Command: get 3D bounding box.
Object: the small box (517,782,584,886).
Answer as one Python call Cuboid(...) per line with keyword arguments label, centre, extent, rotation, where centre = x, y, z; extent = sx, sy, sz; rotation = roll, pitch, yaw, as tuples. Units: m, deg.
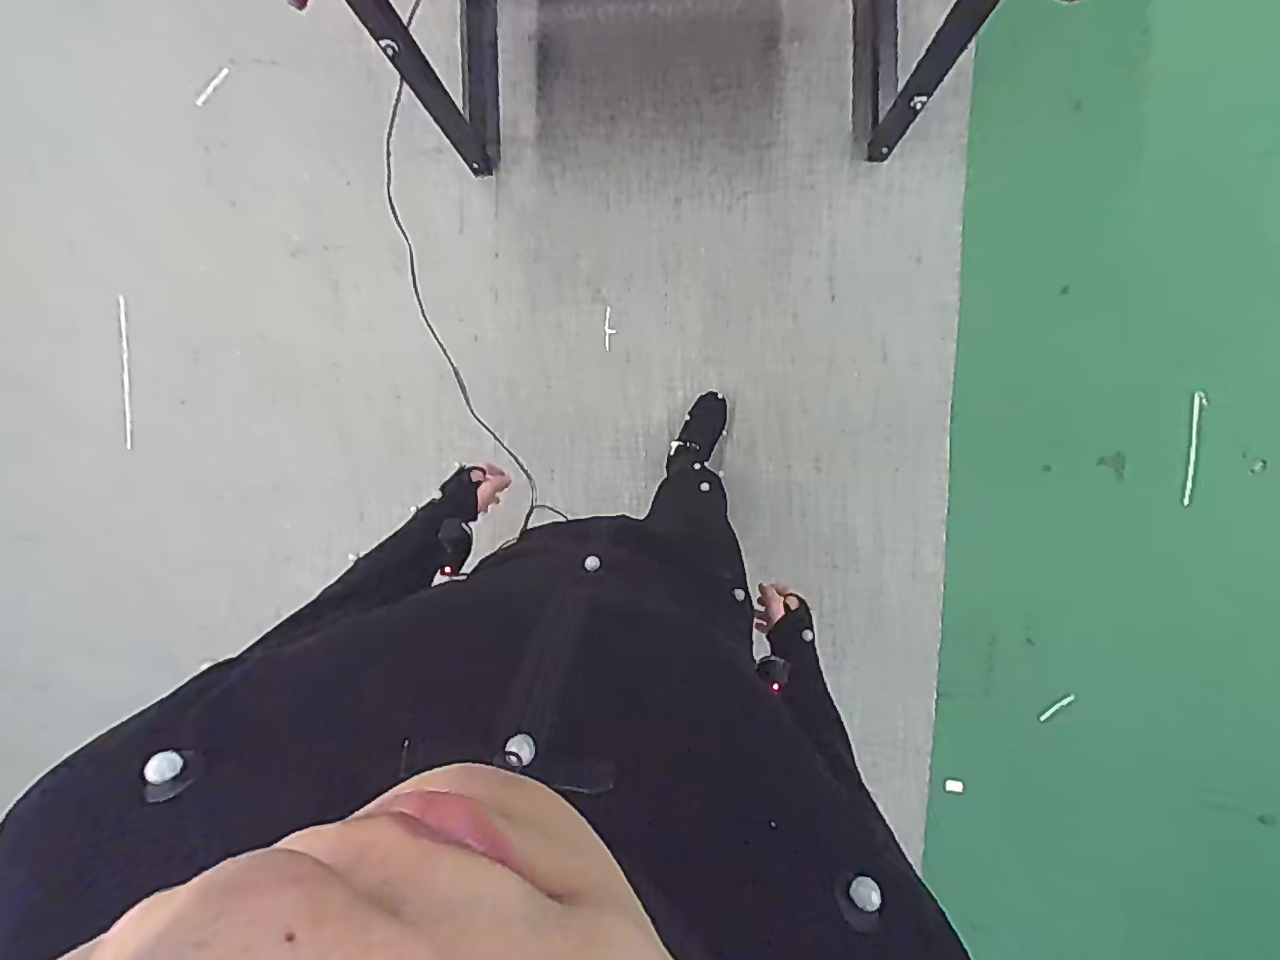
Cuboid(label="small box", centre=(-0.255, 0.999, 1.536), extent=(0.168, 0.176, 0.179), rotation=(6, 93, 2))
